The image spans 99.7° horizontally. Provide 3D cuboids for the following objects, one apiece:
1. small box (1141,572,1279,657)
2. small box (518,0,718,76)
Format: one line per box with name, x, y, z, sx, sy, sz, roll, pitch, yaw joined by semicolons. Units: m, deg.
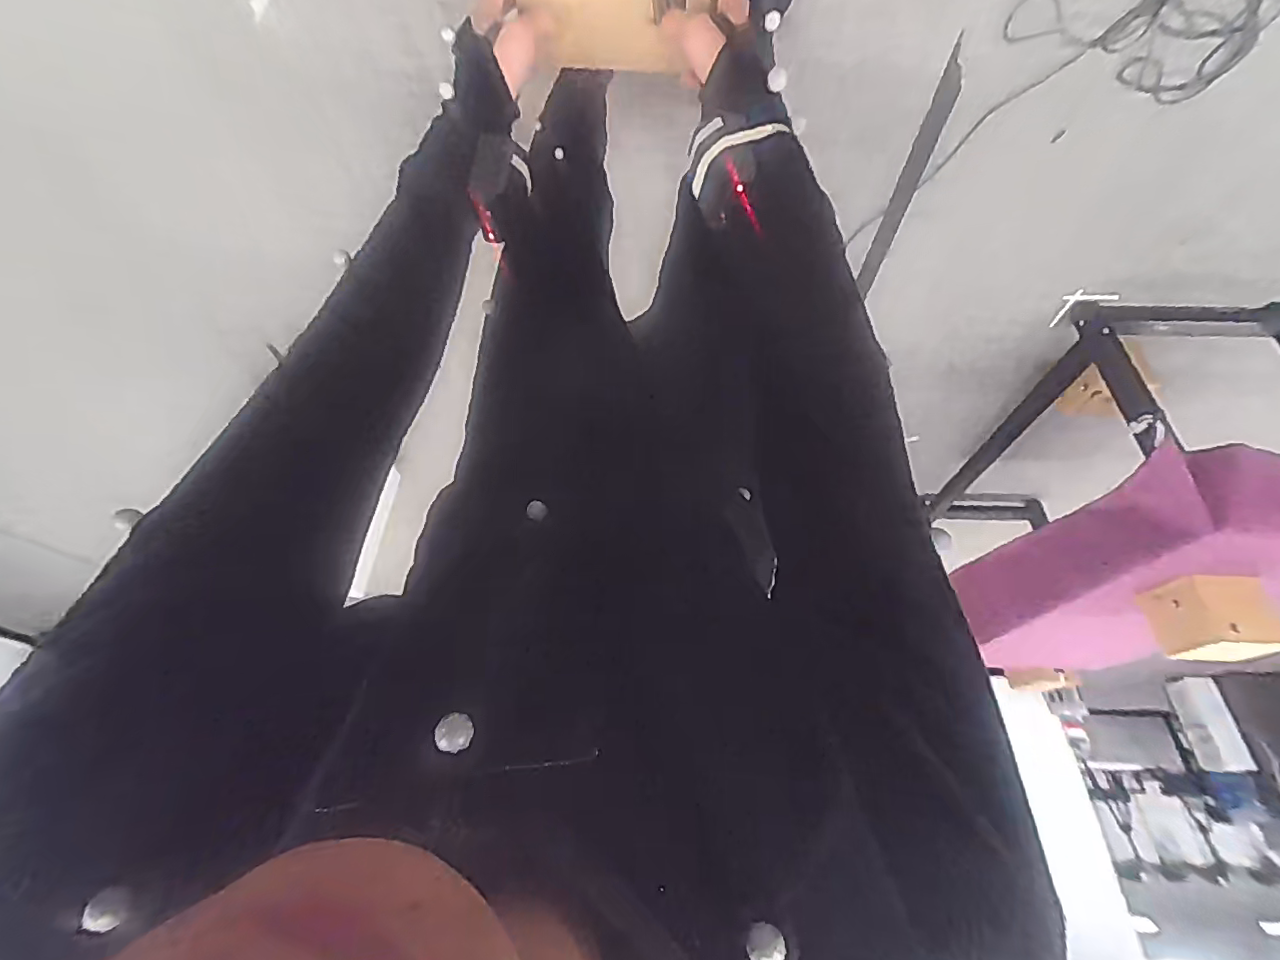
small box;1.429;0.337;1.350;0.179;0.176;0.168;2;149;2
small box;-0.020;-0.500;0.486;0.179;0.176;0.168;1;149;-2
